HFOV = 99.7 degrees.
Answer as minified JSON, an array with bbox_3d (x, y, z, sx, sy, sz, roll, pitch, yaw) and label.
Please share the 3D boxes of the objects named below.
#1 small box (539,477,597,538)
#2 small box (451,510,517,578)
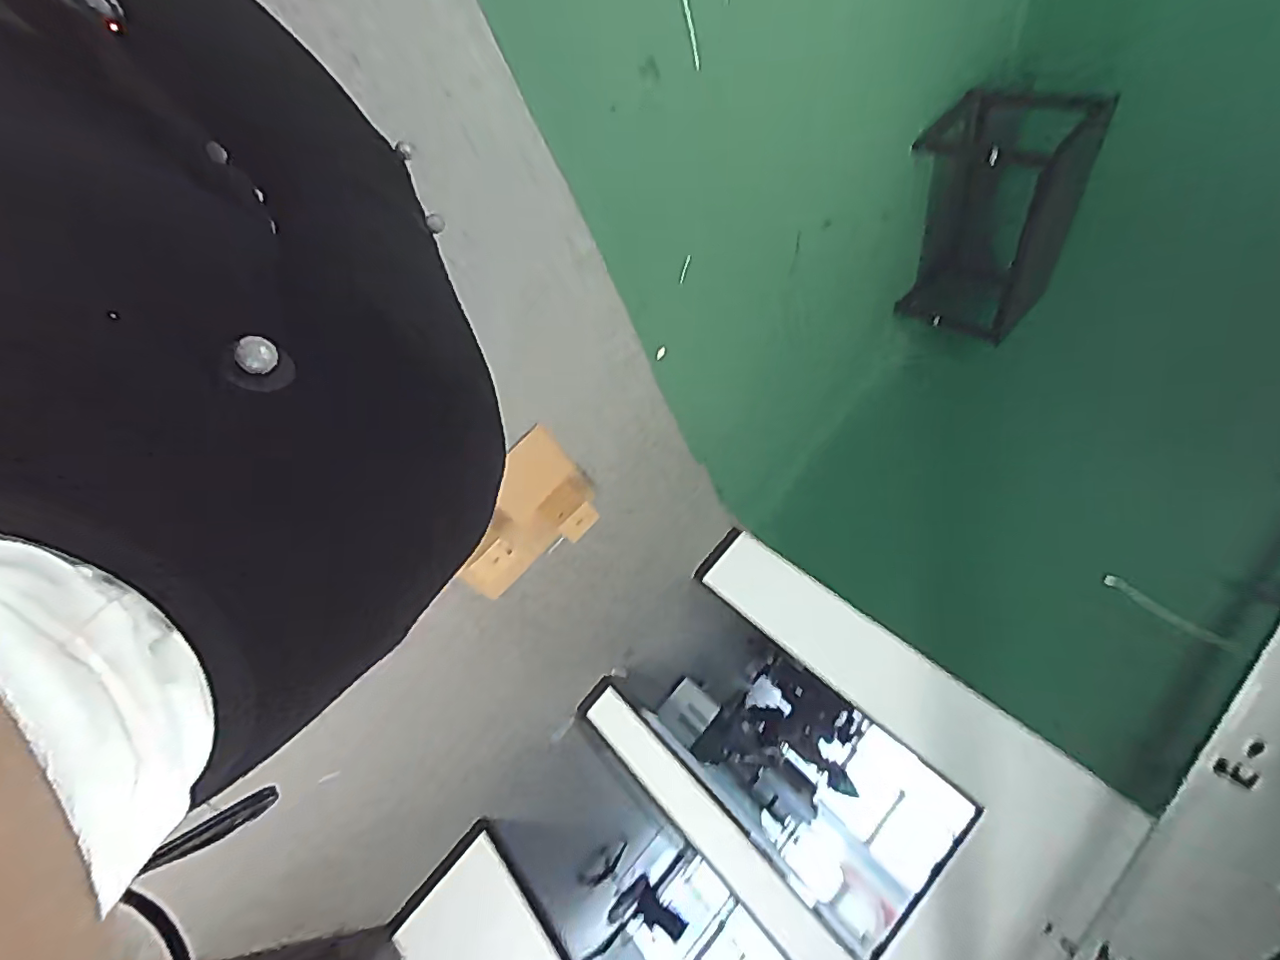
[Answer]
[{"bbox_3d":[-0.329,0.122,2.429,0.179,0.176,0.168,-46,146,-11],"label":"small box"},{"bbox_3d":[-0.639,0.259,2.192,0.179,0.176,0.168,-45,145,-13],"label":"small box"}]
